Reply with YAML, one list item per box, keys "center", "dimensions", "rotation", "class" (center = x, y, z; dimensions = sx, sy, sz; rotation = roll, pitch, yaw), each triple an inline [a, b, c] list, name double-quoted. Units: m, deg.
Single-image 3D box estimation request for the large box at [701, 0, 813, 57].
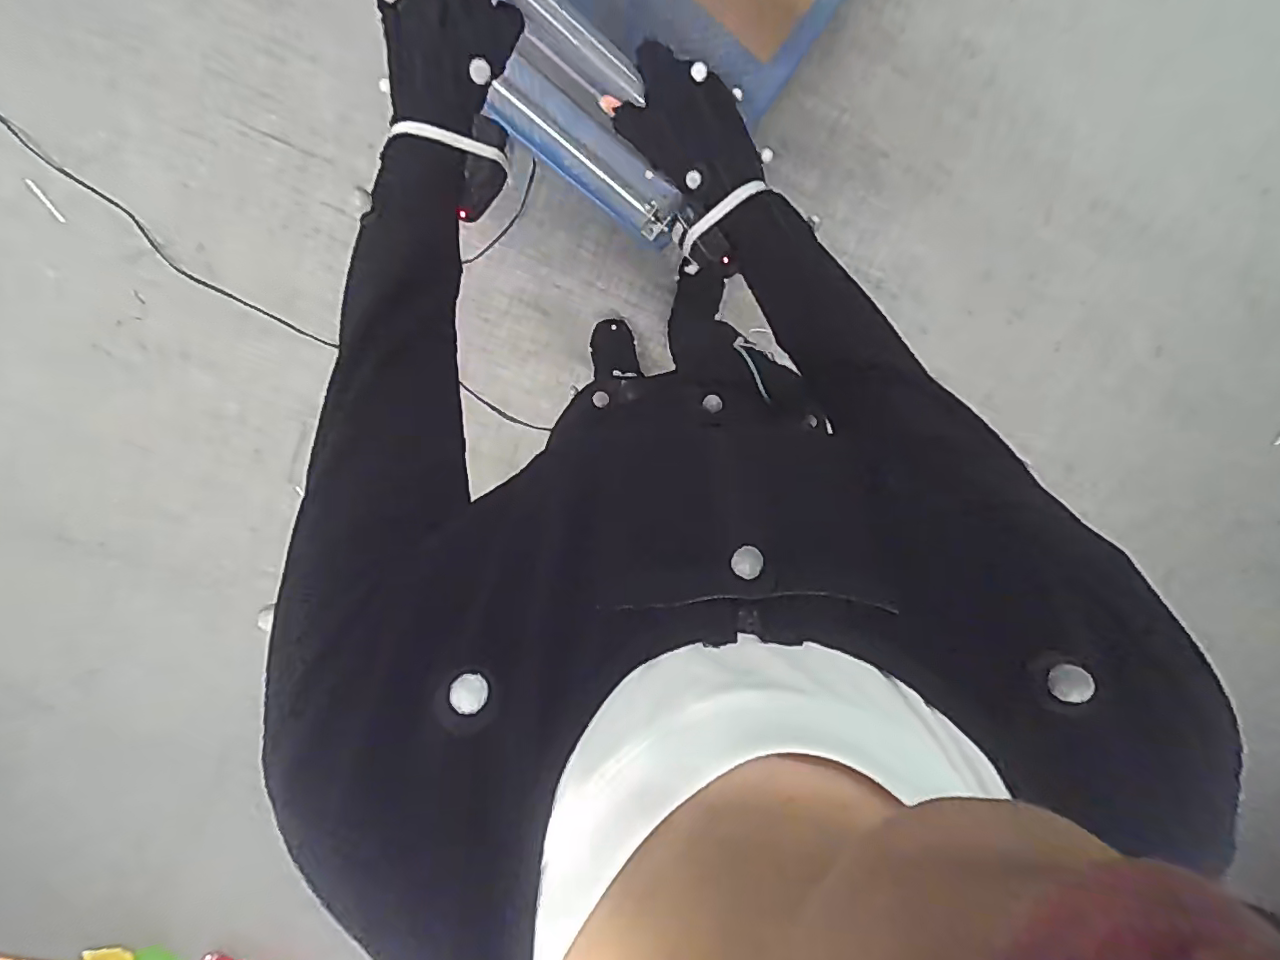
- center: [0.166, -0.953, 0.797]
  dimensions: [0.408, 0.320, 0.320]
  rotation: [33, 107, -13]
  class: "large box"
